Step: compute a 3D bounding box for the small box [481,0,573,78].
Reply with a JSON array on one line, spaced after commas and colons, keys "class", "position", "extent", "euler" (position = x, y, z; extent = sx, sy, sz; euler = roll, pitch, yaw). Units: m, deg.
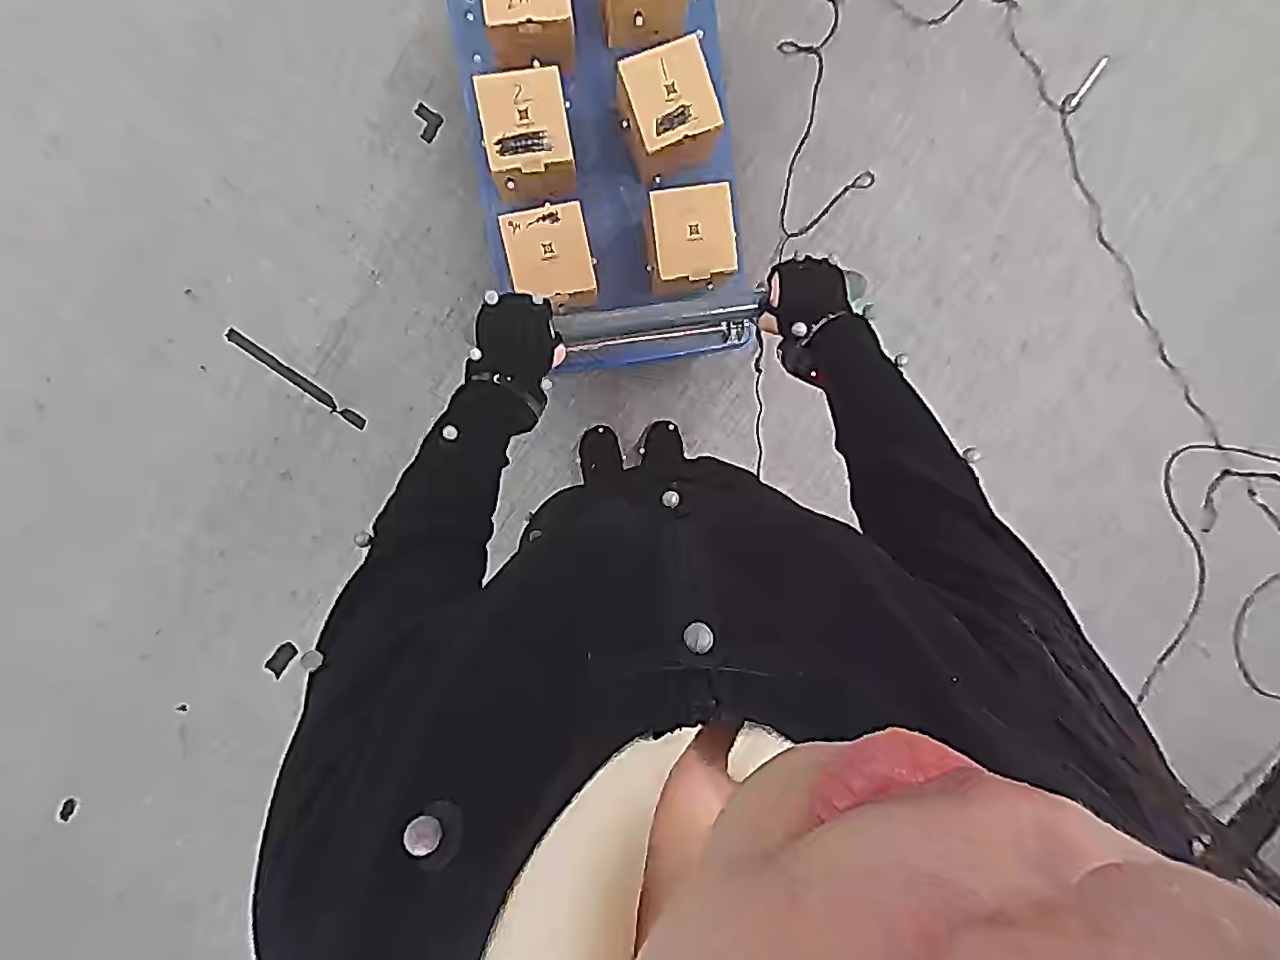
[{"class": "small box", "position": [-0.228, -0.956, 1.087], "extent": [0.168, 0.176, 0.179], "euler": [-7, 99, -3]}]

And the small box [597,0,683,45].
[{"class": "small box", "position": [-0.005, -1.028, 1.097], "extent": [0.168, 0.176, 0.179], "euler": [-12, 99, -3]}]

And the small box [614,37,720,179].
[{"class": "small box", "position": [0.051, -0.765, 1.138], "extent": [0.168, 0.176, 0.179], "euler": [-21, 98, -2]}]

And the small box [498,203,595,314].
[{"class": "small box", "position": [-0.192, -0.463, 1.161], "extent": [0.168, 0.176, 0.179], "euler": [-12, 99, -4]}]

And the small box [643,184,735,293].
[{"class": "small box", "position": [0.101, -0.515, 1.179], "extent": [0.168, 0.176, 0.179], "euler": [-8, 98, -4]}]
